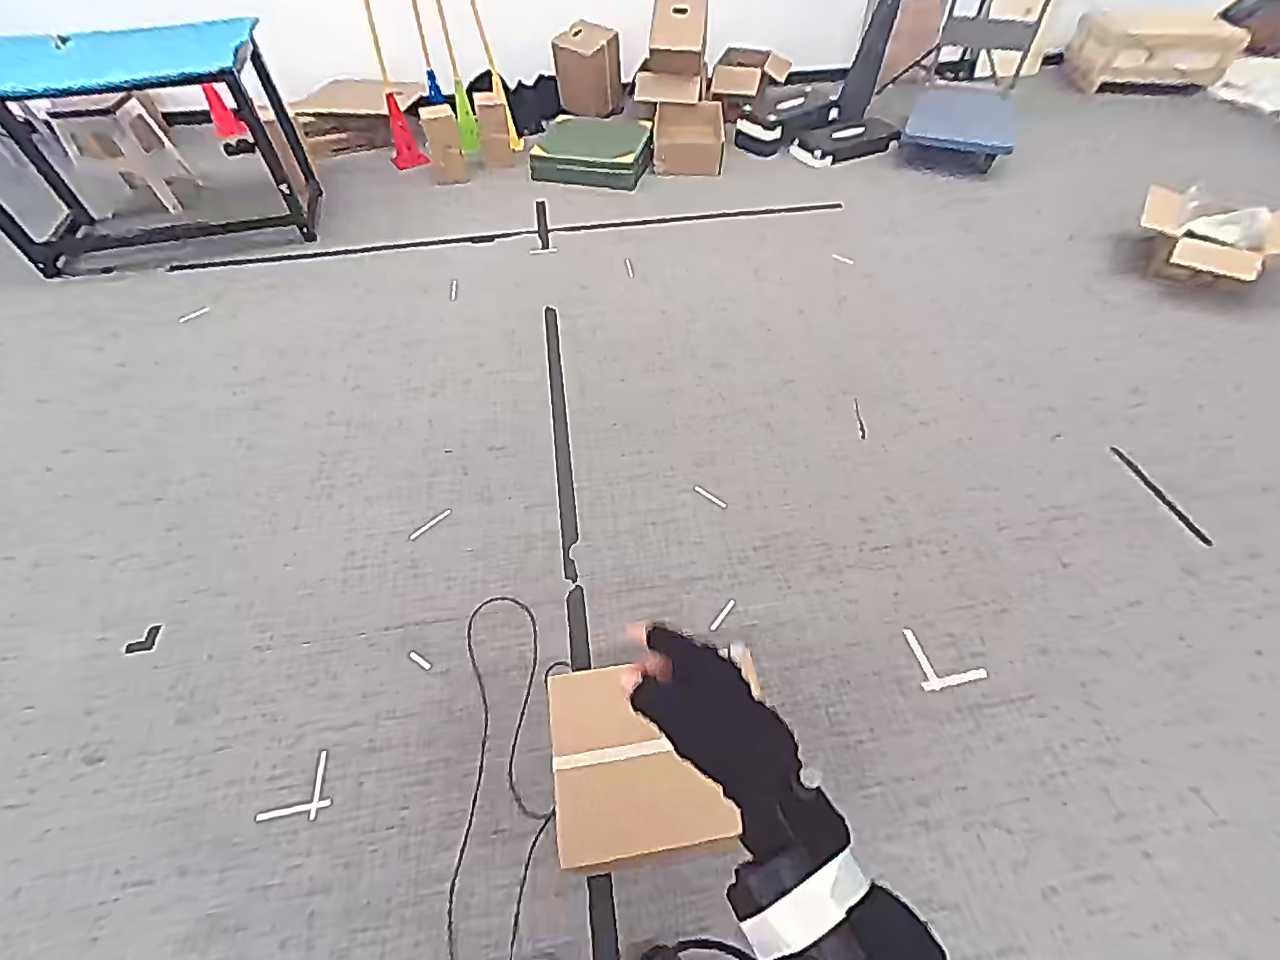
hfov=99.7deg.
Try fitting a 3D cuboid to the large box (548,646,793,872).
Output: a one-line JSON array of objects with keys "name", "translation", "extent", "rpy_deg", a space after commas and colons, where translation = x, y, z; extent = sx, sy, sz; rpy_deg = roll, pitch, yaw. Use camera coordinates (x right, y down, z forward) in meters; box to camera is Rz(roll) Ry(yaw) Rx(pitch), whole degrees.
[{"name": "large box", "translation": [0.041, 0.571, 1.100], "extent": [0.408, 0.320, 0.320], "rpy_deg": [-7, 52, -7]}]
